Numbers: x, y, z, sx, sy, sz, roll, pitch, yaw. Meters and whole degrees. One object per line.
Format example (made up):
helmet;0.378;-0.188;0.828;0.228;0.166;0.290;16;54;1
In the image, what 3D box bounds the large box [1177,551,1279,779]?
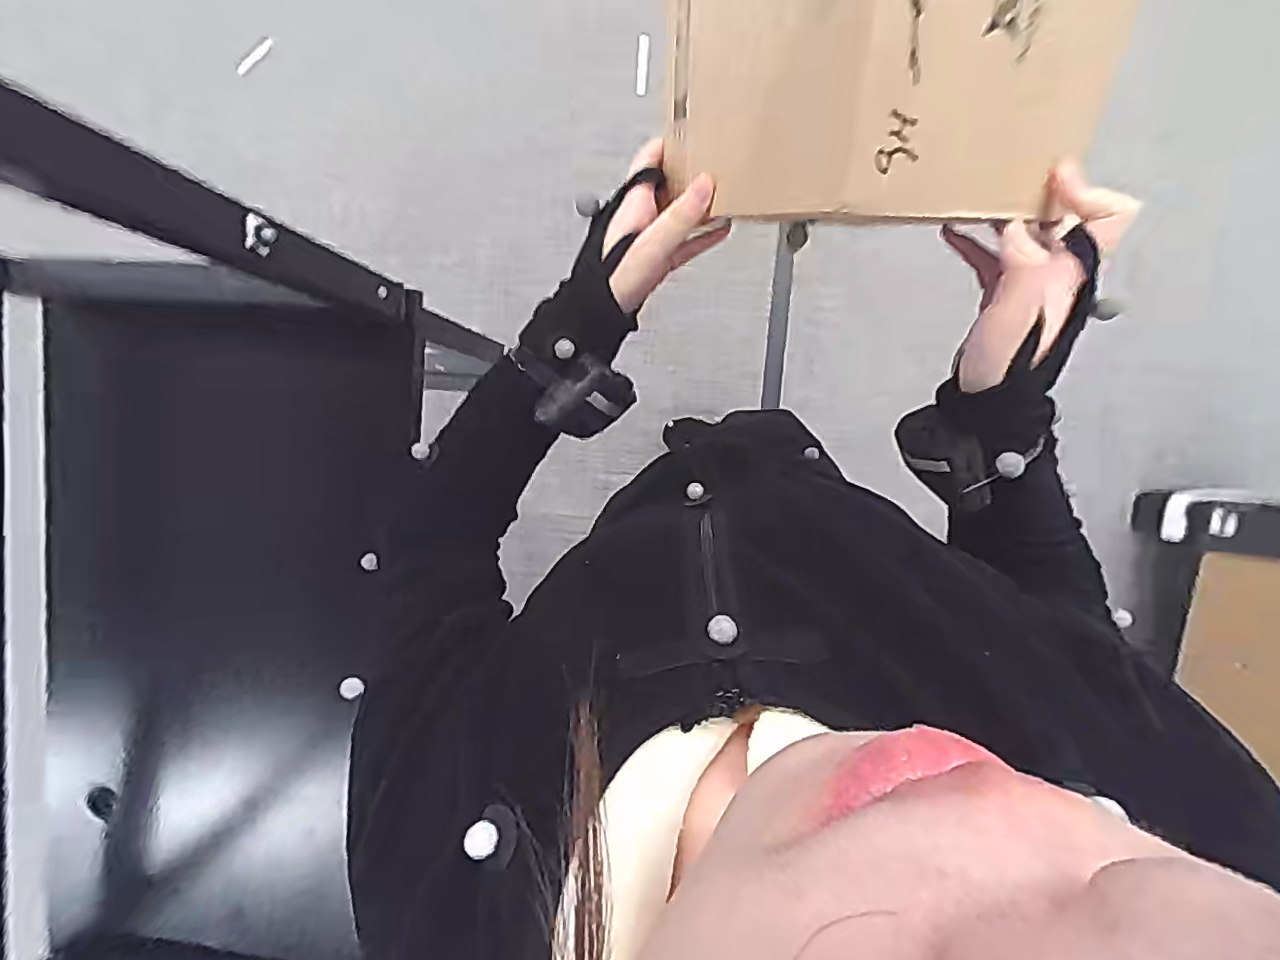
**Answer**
large box;1.377;0.379;1.064;0.320;0.320;0.408;7;93;4
